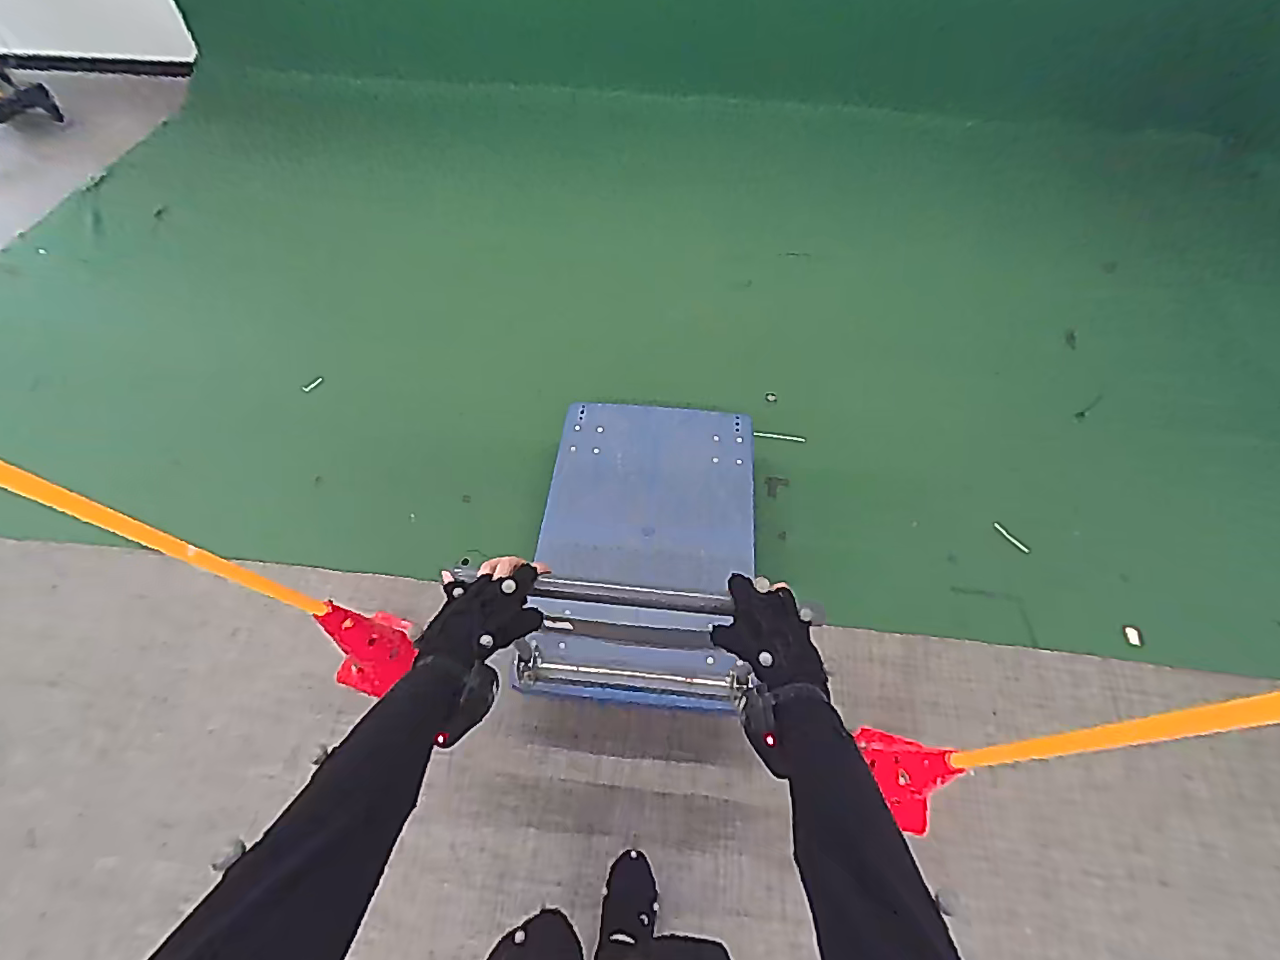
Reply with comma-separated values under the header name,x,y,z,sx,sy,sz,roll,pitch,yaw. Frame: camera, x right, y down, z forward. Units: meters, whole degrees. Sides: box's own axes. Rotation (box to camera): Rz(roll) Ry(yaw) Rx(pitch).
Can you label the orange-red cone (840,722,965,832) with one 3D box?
name,x,y,z,sx,sy,sz,roll,pitch,yaw
orange-red cone,0.585,0.609,1.146,0.198,0.360,0.199,15,59,10
